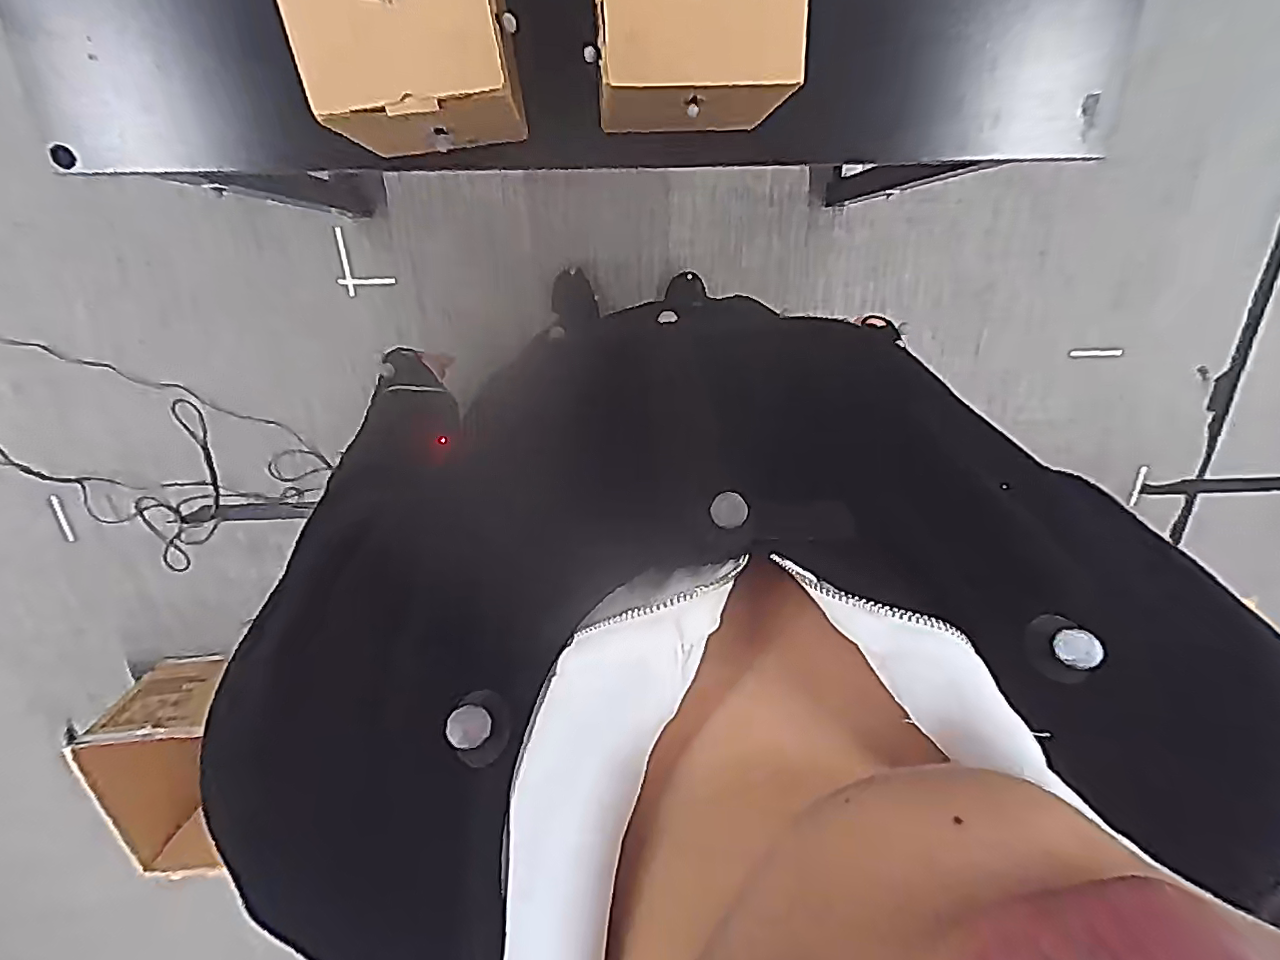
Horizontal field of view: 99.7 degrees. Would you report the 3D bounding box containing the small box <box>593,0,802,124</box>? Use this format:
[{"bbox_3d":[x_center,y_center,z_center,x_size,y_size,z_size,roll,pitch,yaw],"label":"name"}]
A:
[{"bbox_3d":[0.043,-0.452,0.511,0.179,0.176,0.168,-4,112,-4],"label":"small box"}]

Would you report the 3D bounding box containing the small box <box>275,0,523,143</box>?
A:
[{"bbox_3d":[-0.213,-0.428,0.498,0.168,0.176,0.179,-8,112,-1],"label":"small box"}]
